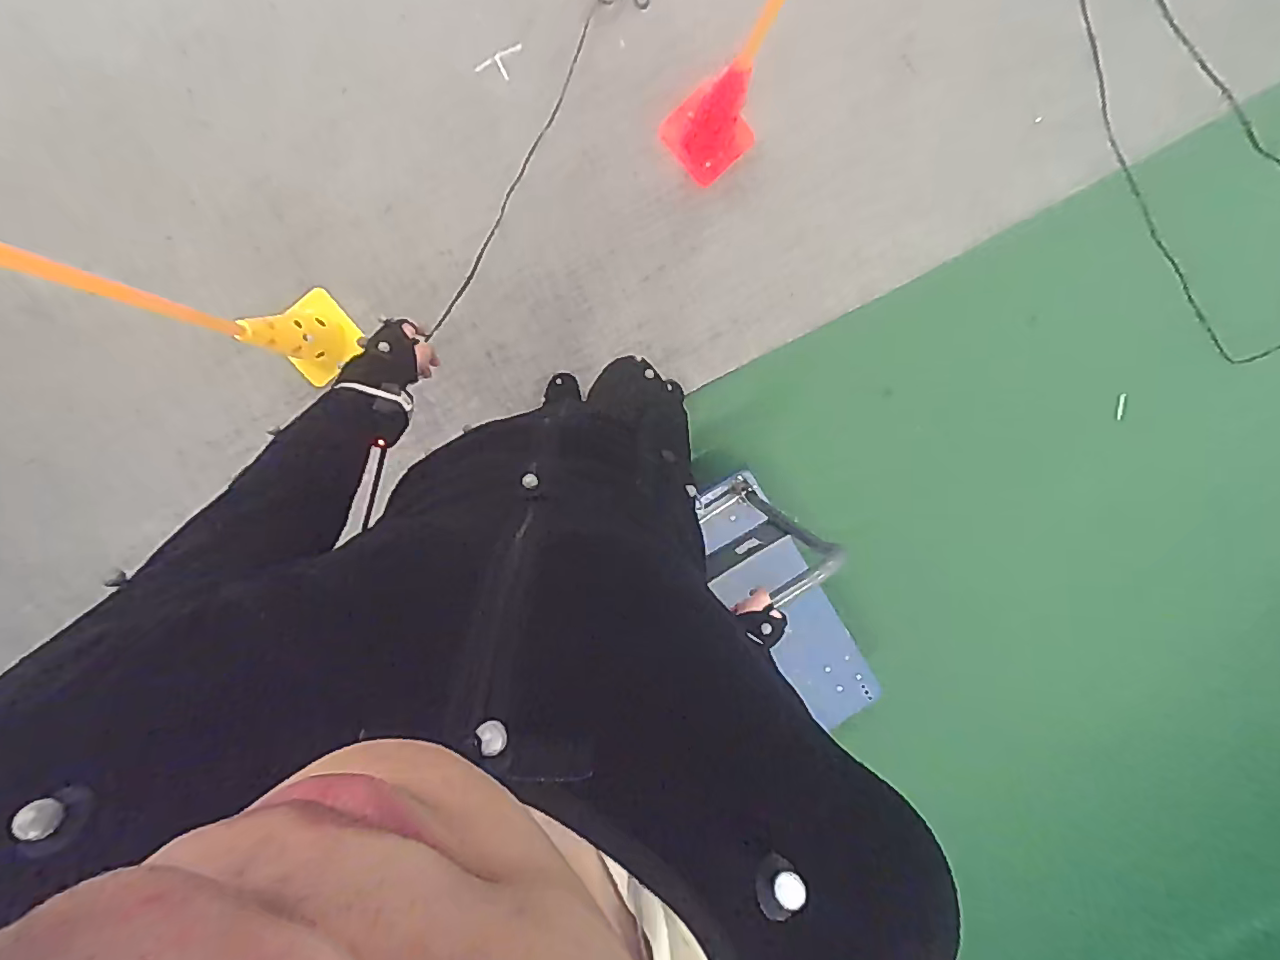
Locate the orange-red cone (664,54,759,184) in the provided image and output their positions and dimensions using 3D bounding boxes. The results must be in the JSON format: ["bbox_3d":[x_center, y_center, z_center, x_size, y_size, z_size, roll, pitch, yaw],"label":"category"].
[{"bbox_3d":[0.207,-0.893,1.279,0.199,0.360,0.198,-42,104,3],"label":"orange-red cone"}]
